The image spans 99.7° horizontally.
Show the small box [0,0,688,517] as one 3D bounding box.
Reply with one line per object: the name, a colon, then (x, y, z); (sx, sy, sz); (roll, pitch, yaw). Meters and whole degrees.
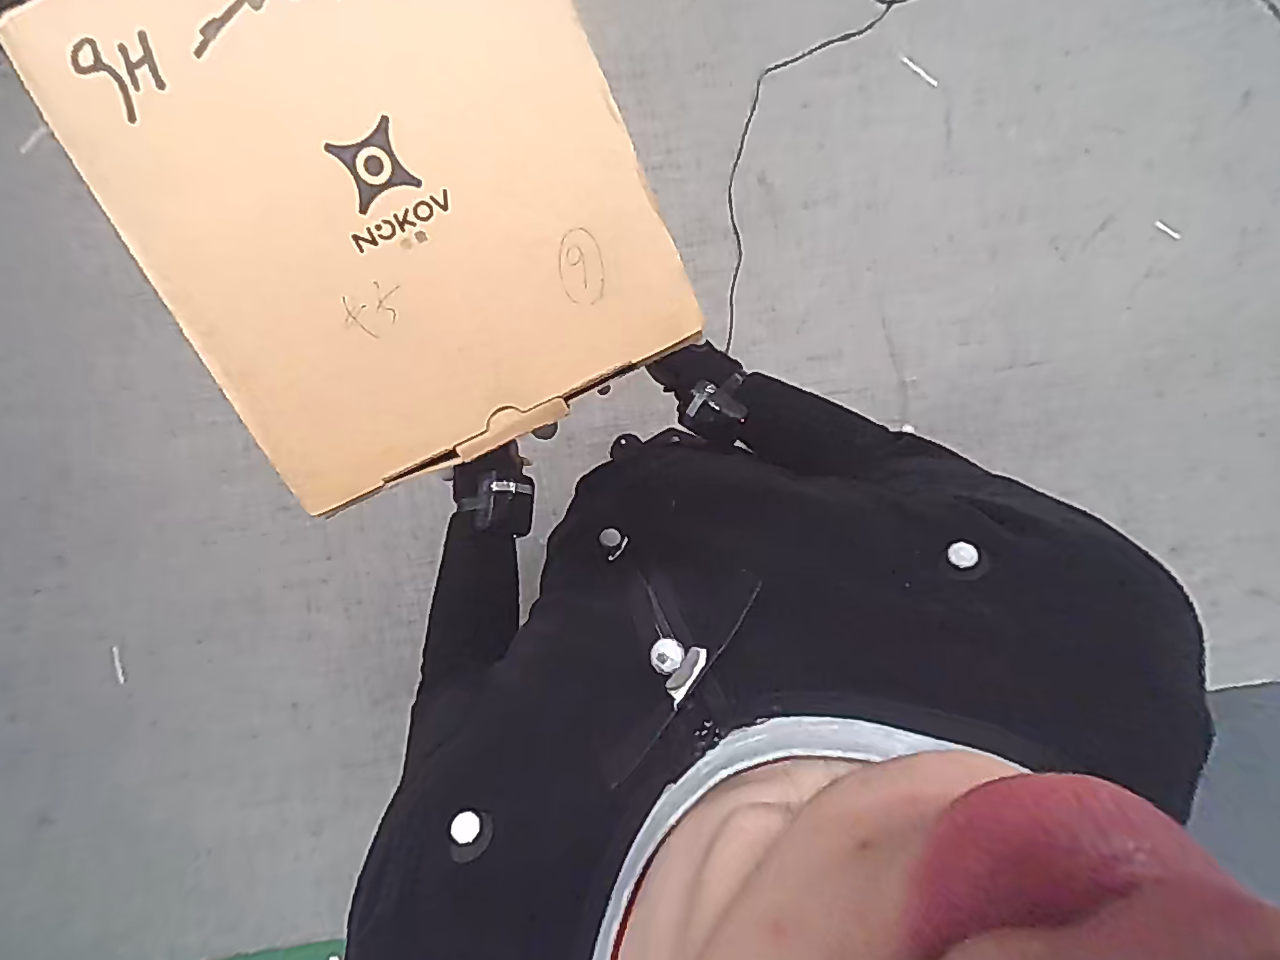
small box: (-0.095, -0.112, 0.252); (0.168, 0.176, 0.179); (-25, 104, 1)
